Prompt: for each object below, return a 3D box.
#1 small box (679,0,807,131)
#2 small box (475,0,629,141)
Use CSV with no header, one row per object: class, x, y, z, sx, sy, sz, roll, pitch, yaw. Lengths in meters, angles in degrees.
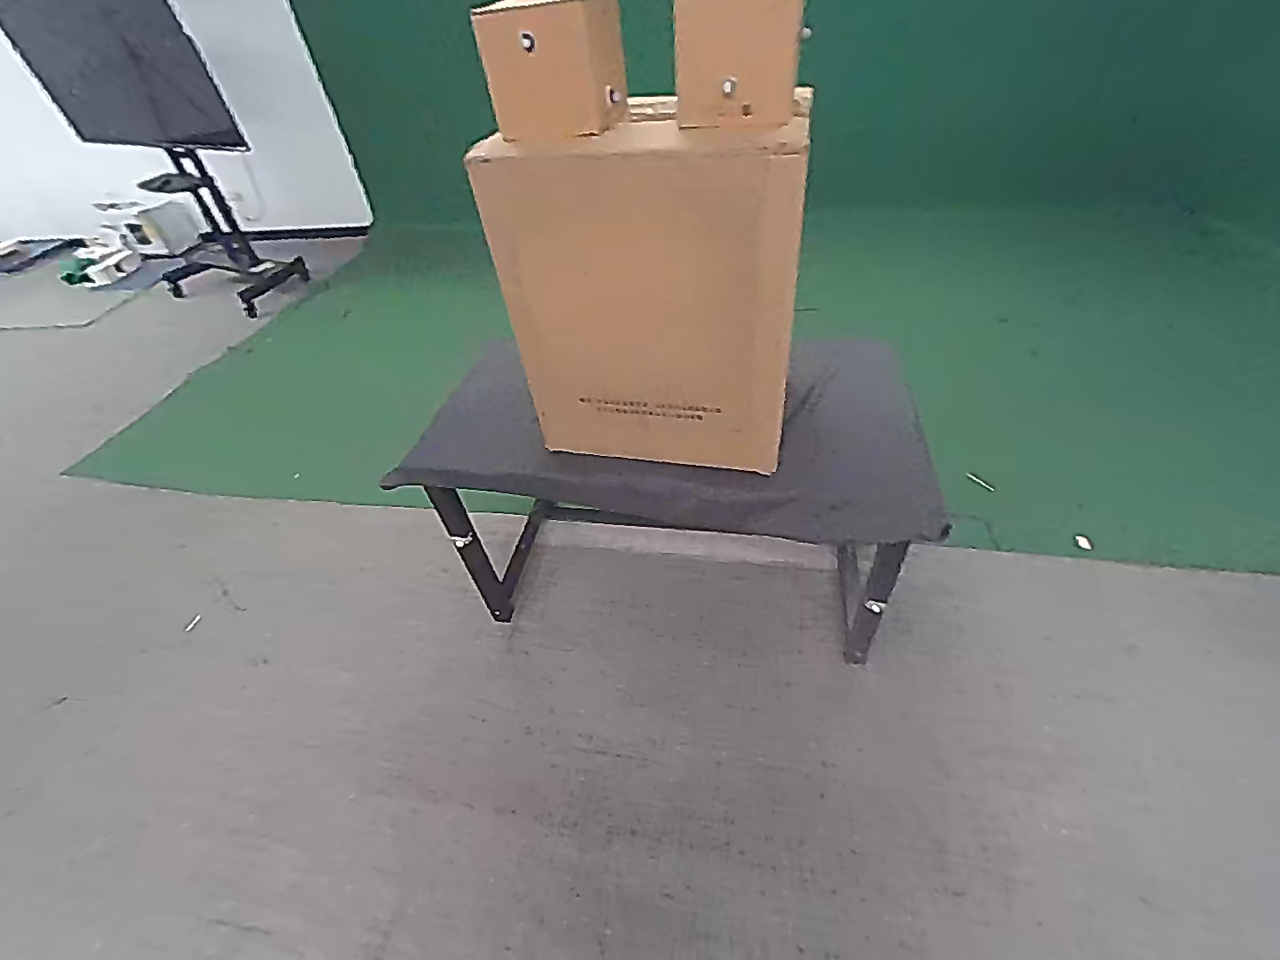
small box,0.153,-0.642,0.804,0.168,0.176,0.179,8,49,13
small box,-0.127,-0.660,0.865,0.179,0.176,0.168,8,49,14
